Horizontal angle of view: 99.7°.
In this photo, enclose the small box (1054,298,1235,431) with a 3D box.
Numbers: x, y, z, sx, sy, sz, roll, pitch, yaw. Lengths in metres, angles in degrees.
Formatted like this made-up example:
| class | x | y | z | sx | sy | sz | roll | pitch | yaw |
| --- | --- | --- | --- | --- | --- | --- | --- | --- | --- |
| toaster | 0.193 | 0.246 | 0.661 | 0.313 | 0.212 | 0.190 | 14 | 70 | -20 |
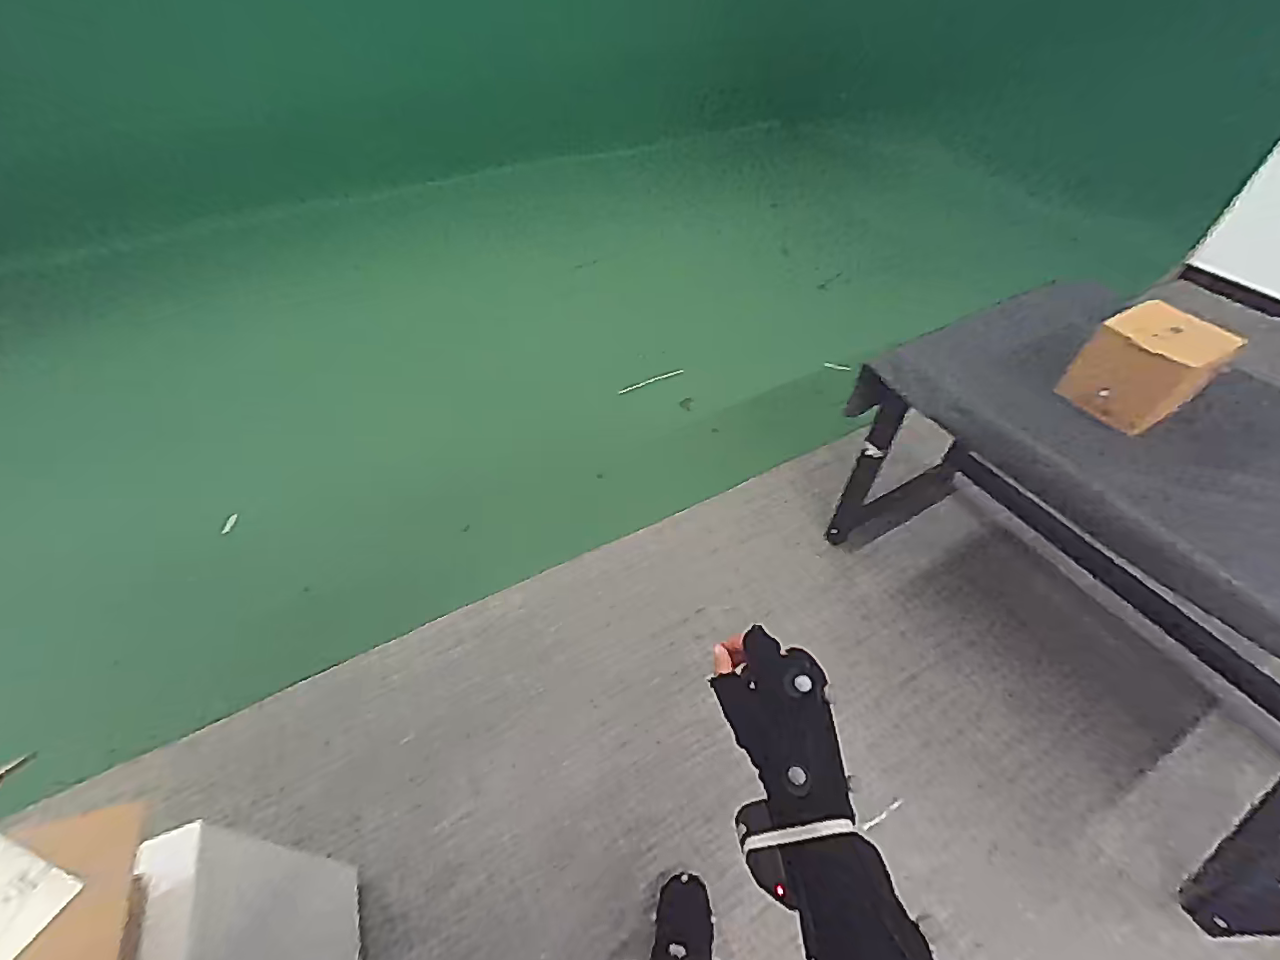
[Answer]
| class | x | y | z | sx | sy | sz | roll | pitch | yaw |
| --- | --- | --- | --- | --- | --- | --- | --- | --- | --- |
| small box | 0.980 | -0.226 | 1.069 | 0.179 | 0.176 | 0.168 | -23 | 53 | -19 |
